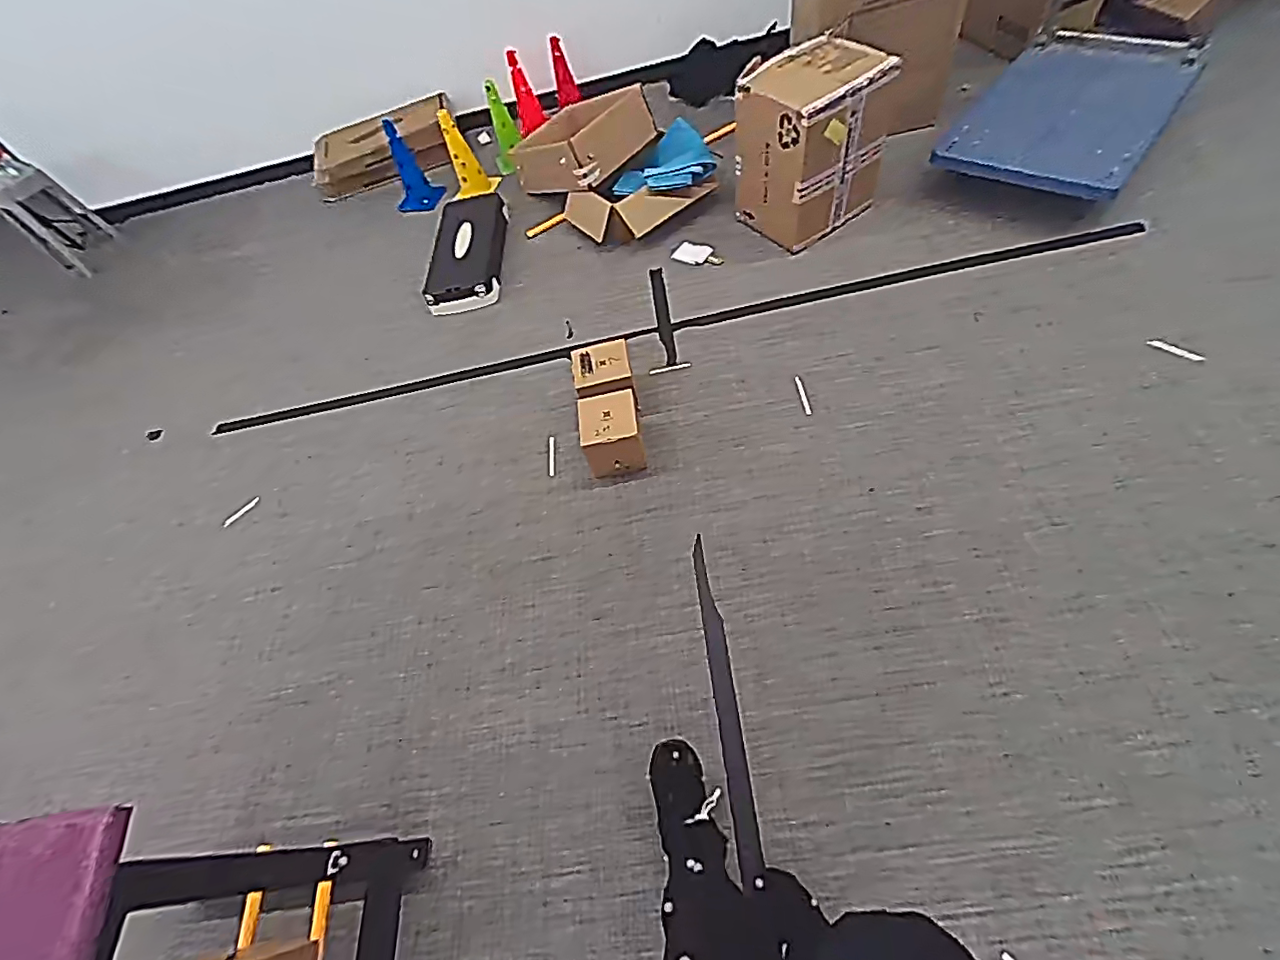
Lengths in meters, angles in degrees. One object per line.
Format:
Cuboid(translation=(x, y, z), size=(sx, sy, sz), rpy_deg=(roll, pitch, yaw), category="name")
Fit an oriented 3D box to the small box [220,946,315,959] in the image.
Cuboid(translation=(-0.704, 0.927, 0.926), size=(0.179, 0.176, 0.168), rpy_deg=(-11, 57, 3), category="small box")
